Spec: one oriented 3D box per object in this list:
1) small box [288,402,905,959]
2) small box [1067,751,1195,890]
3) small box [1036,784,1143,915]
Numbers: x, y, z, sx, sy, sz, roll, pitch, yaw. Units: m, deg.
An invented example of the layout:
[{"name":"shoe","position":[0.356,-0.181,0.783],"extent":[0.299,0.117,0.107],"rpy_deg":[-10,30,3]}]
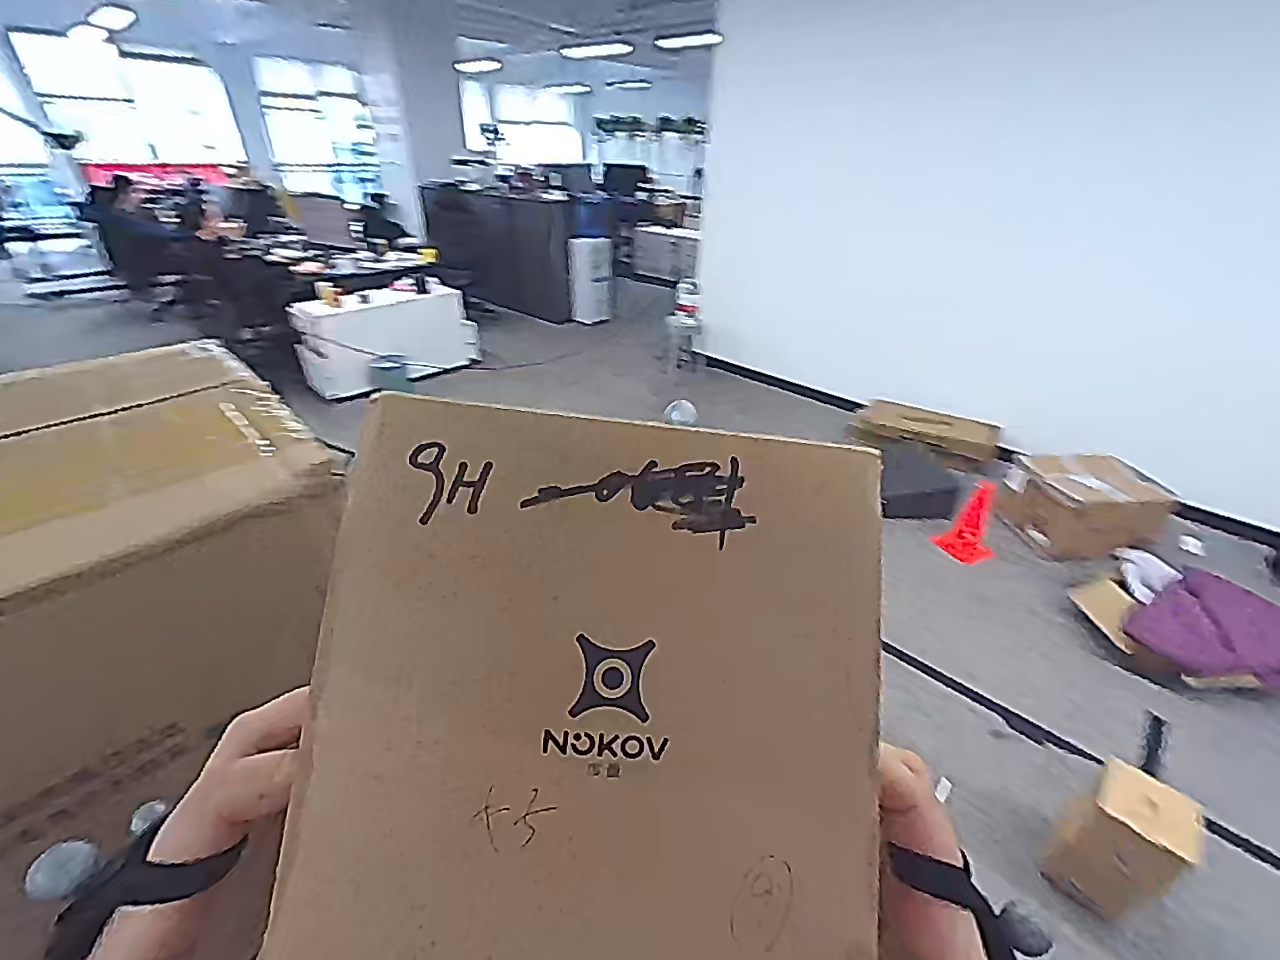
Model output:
[{"name":"small box","position":[-0.011,0.081,0.237],"extent":[0.168,0.179,0.176],"rpy_deg":[7,-9,-4]},{"name":"small box","position":[1.133,0.787,1.255],"extent":[0.168,0.176,0.179],"rpy_deg":[27,40,36]},{"name":"small box","position":[1.130,0.922,1.352],"extent":[0.168,0.176,0.179],"rpy_deg":[26,41,36]}]
